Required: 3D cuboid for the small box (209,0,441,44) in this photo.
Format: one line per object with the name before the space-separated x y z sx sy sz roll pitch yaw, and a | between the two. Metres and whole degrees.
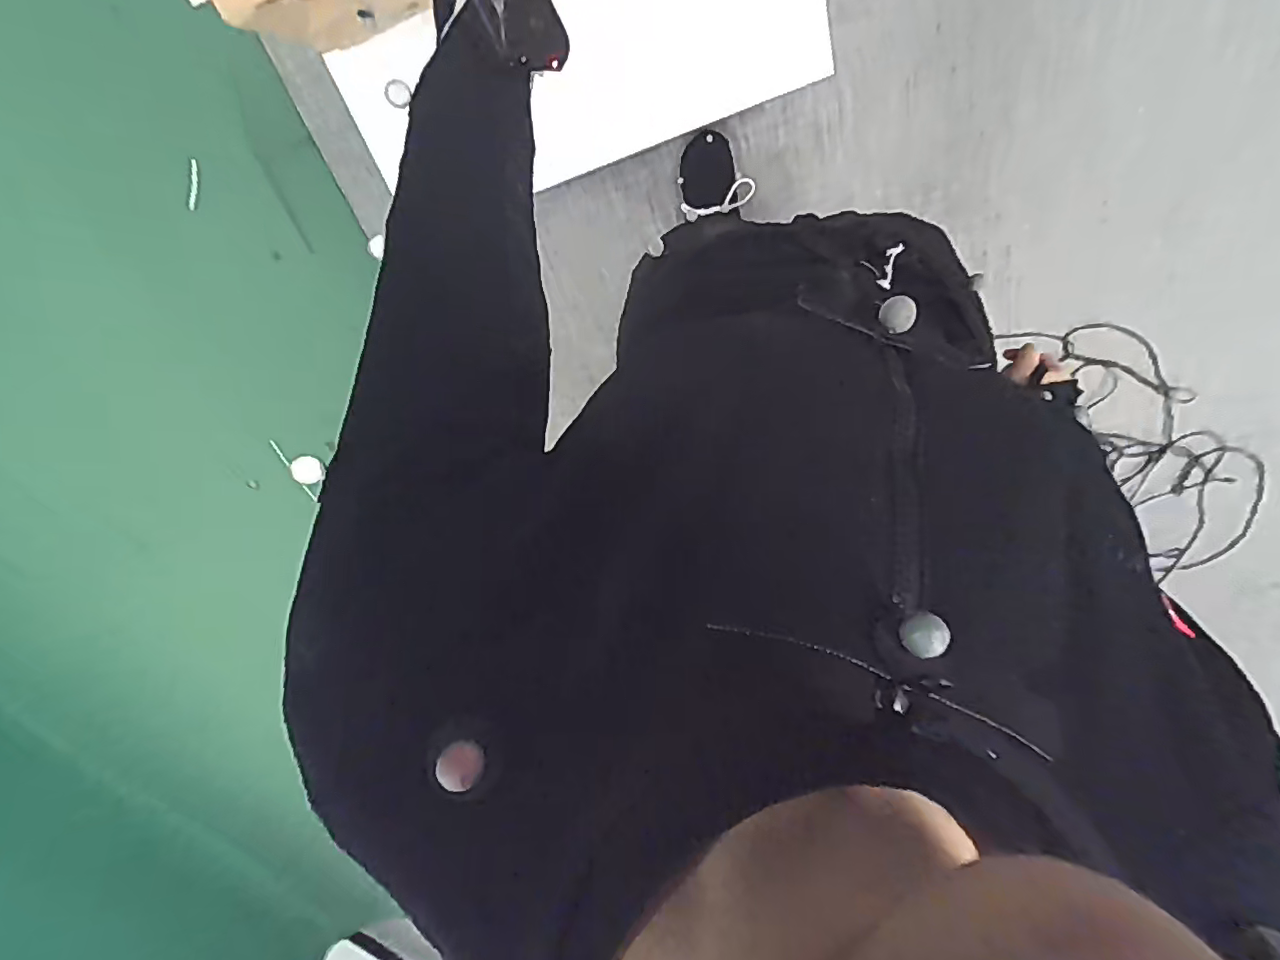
small box | -0.277 -0.498 0.440 0.168 0.176 0.179 -13 121 14
